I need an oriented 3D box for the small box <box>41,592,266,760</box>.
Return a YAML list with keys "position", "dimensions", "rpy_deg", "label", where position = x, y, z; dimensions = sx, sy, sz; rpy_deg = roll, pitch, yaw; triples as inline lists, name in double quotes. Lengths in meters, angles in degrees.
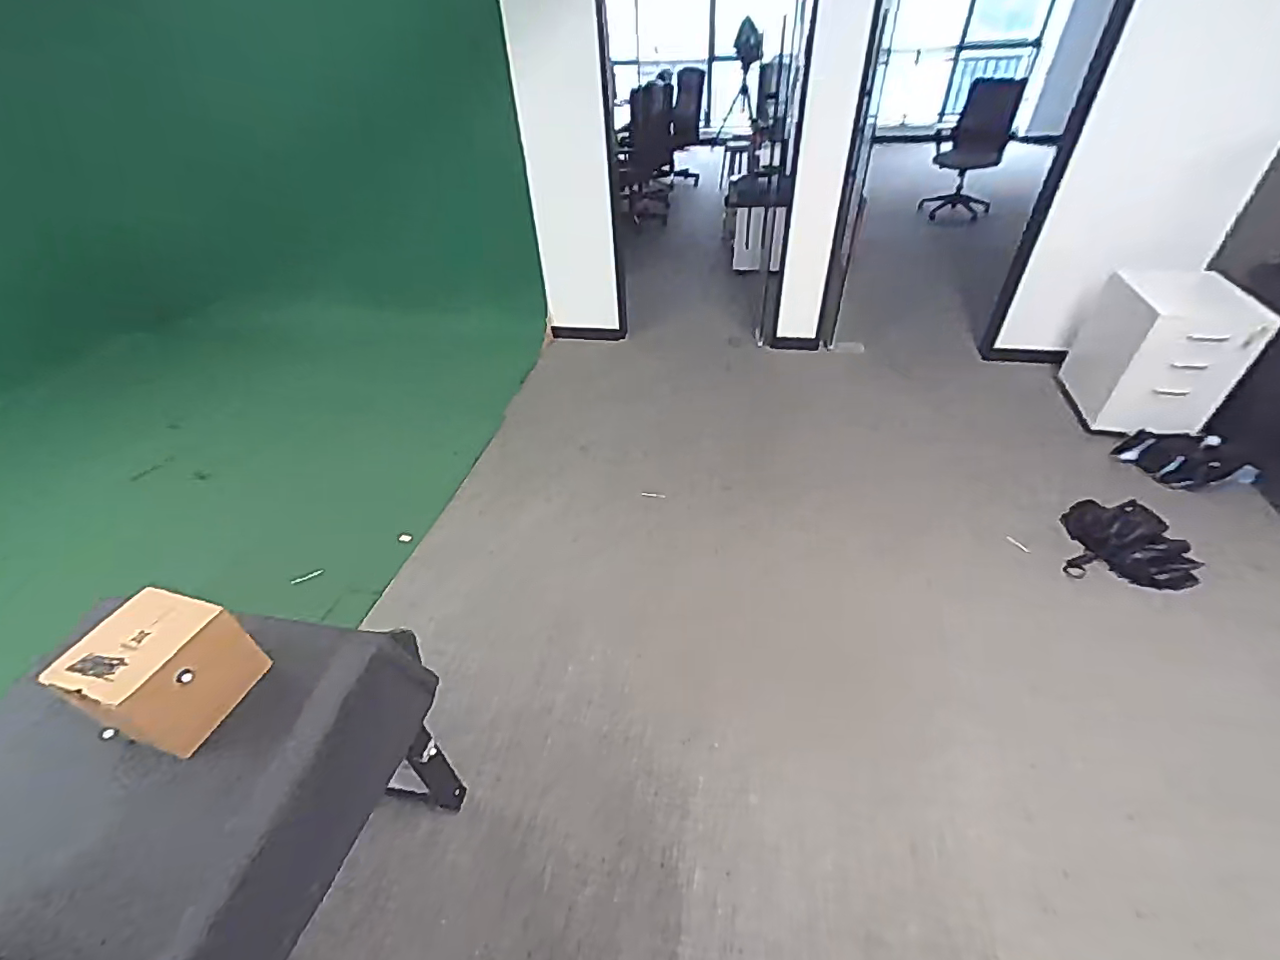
- position: [-0.757, 0.314, 0.867]
  dimensions: [0.168, 0.176, 0.179]
  rpy_deg: [10, 41, 15]
  label: "small box"
